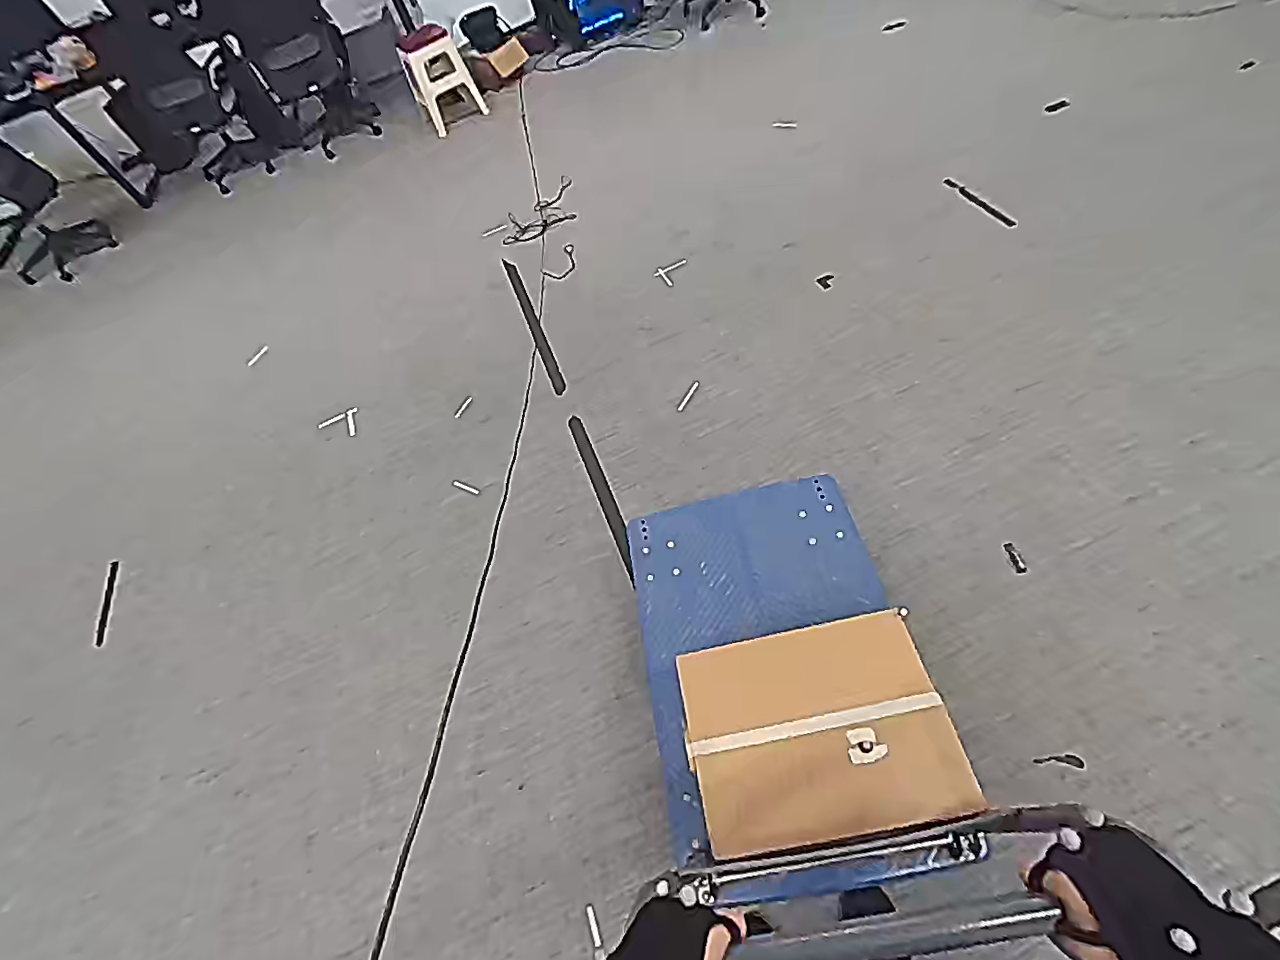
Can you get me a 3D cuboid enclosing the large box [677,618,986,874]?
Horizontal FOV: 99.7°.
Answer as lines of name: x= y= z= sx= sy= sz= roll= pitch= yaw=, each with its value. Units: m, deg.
large box: x=0.308 y=0.493 z=0.987 sx=0.408 sy=0.320 sz=0.320 roll=-14 pitch=54 yaw=4
